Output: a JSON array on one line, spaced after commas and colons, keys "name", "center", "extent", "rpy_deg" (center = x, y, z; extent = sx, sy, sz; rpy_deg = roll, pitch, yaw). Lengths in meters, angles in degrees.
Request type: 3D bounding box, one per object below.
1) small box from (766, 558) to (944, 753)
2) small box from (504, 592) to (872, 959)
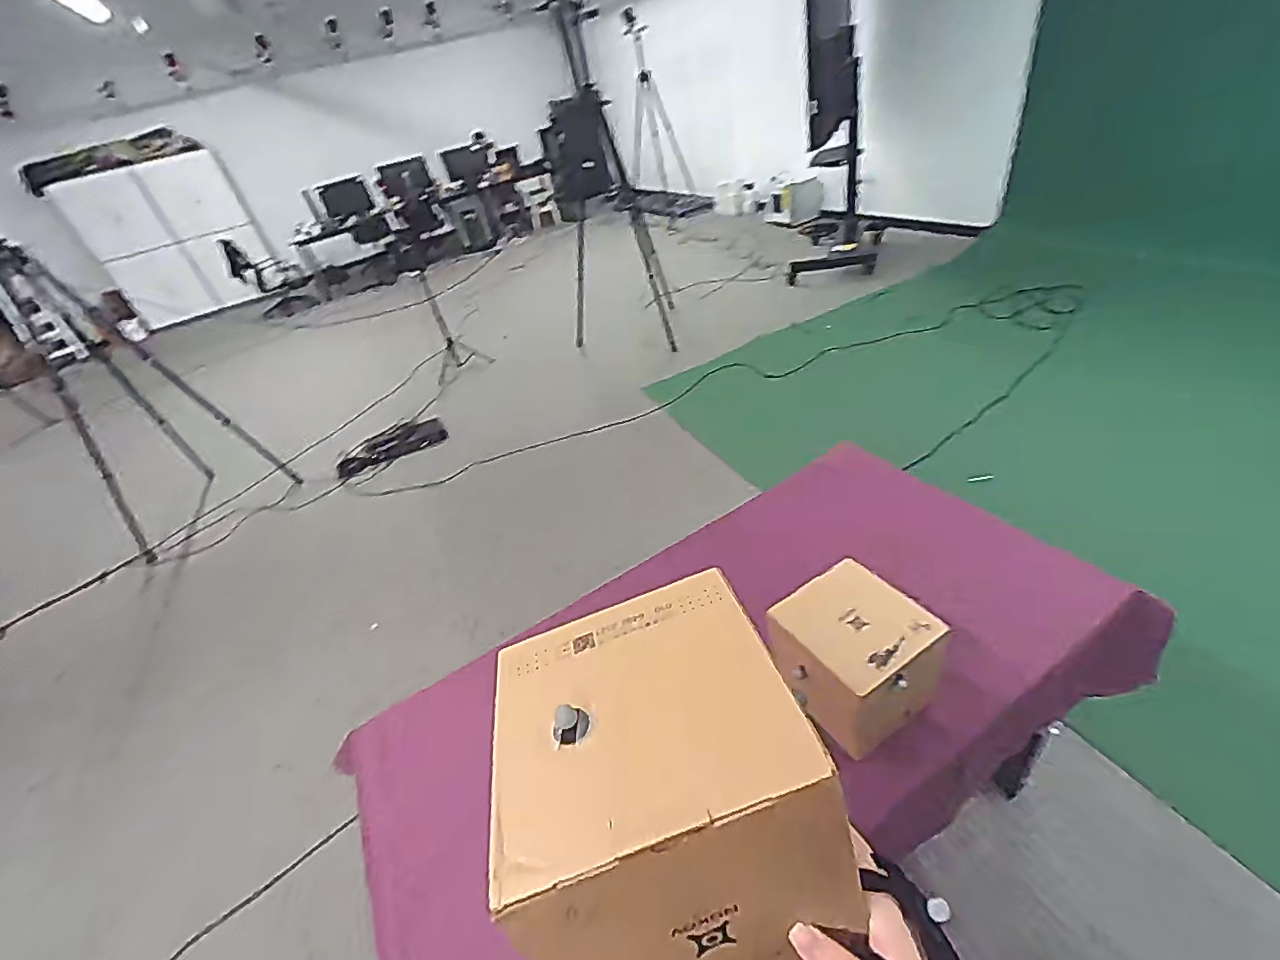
[{"name": "small box", "center": [0.309, 0.256, 0.799], "extent": [0.168, 0.176, 0.179], "rpy_deg": [-29, 38, -17]}, {"name": "small box", "center": [0.022, 0.196, 0.348], "extent": [0.168, 0.179, 0.176], "rpy_deg": [-19, 28, -2]}]
